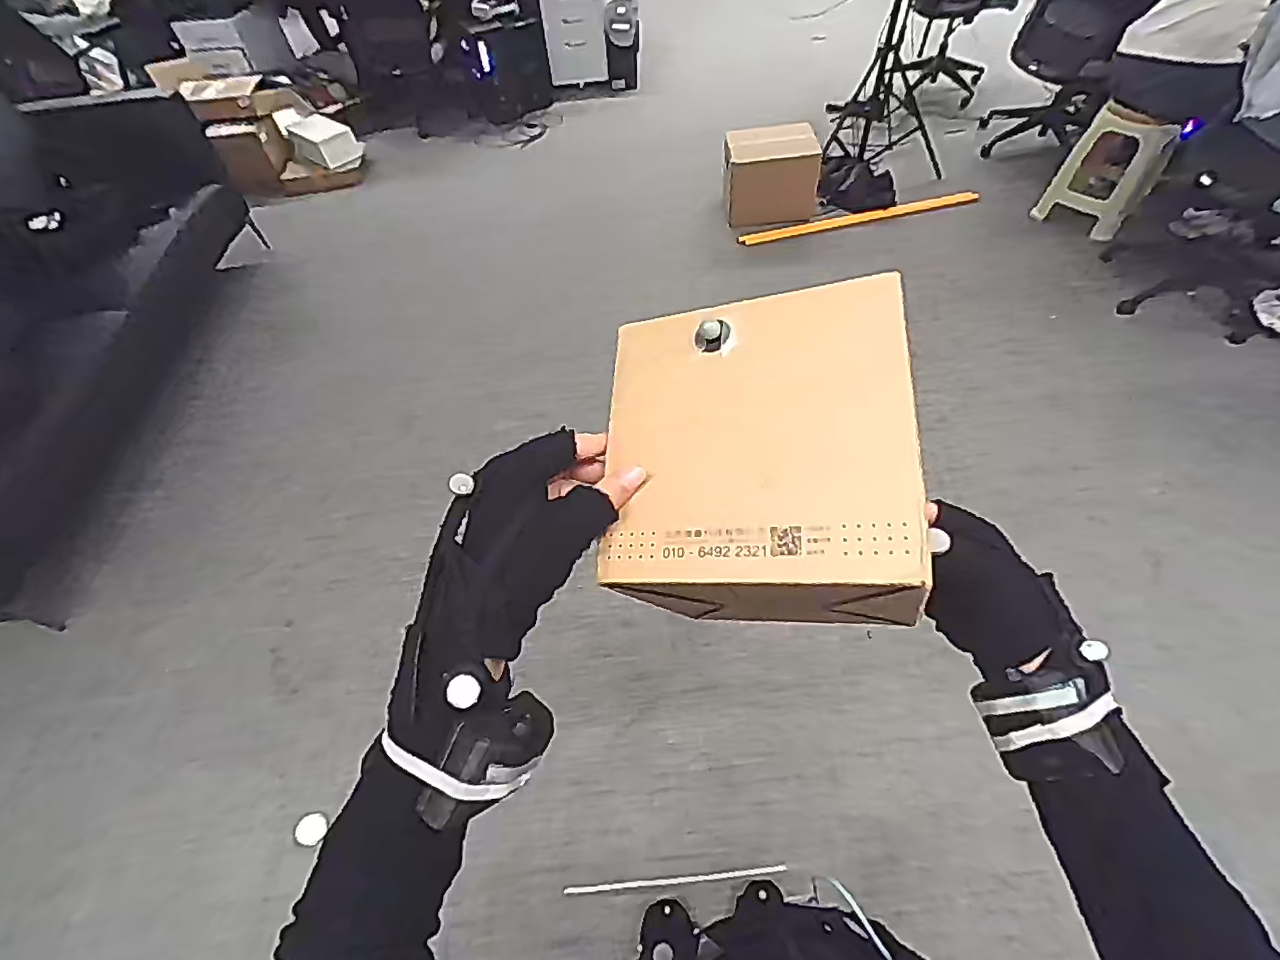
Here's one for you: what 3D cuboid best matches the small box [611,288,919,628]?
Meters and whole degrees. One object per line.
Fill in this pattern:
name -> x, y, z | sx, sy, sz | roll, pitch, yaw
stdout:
small box -> 0.089, 0.007, 0.371 | 0.168, 0.179, 0.176 | -6, 66, 23
